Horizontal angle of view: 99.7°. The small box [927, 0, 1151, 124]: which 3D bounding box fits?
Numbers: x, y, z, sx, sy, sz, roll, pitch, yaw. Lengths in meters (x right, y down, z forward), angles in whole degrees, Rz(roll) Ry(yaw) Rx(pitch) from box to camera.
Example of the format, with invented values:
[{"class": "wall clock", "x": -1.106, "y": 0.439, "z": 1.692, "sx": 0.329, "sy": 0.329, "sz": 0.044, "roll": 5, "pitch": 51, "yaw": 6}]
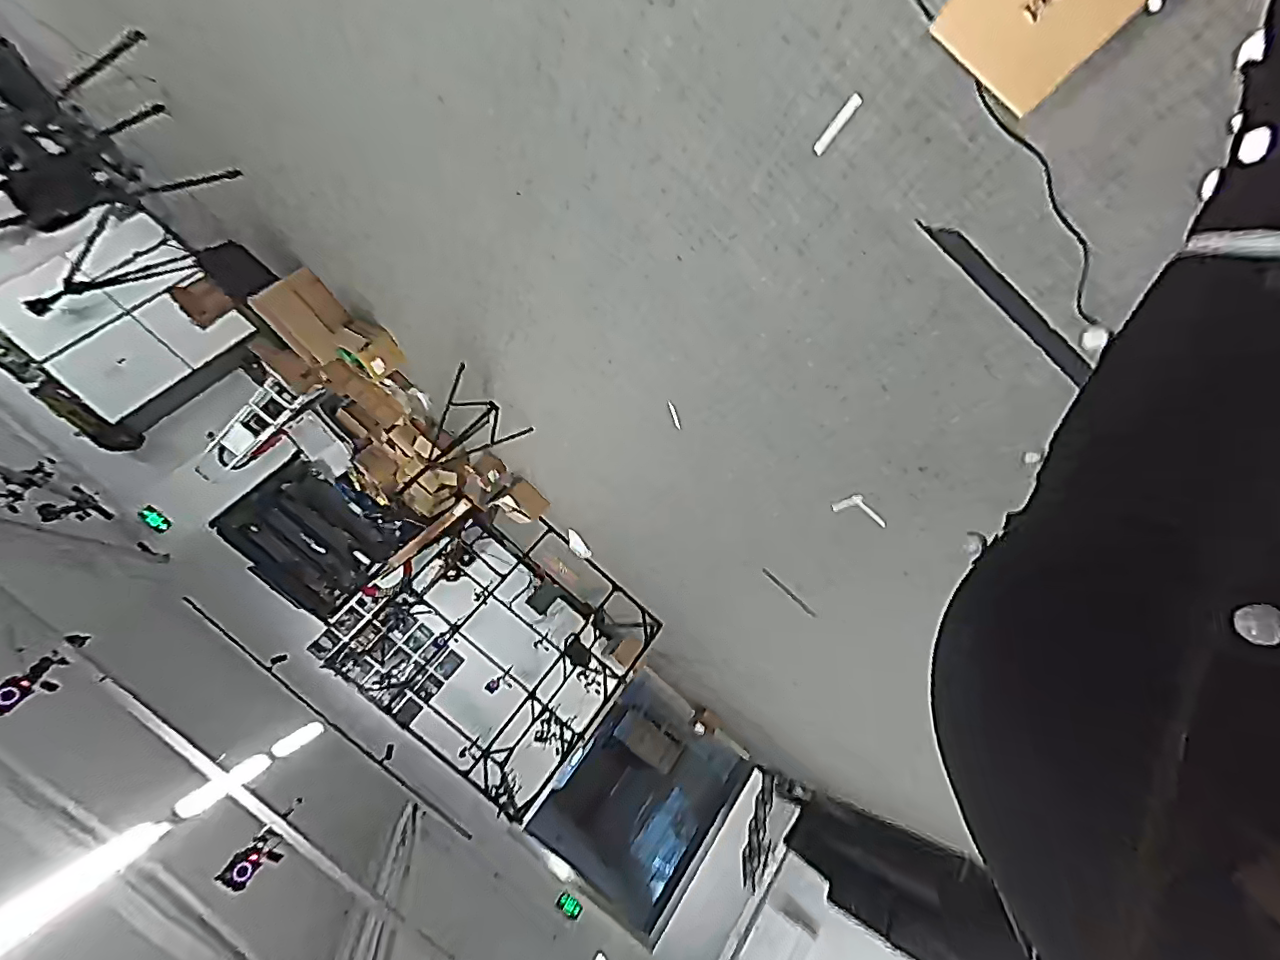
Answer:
[{"class": "small box", "x": 0.495, "y": -0.584, "z": 0.641, "sx": 0.168, "sy": 0.176, "sz": 0.179, "roll": 42, "pitch": 157, "yaw": -2}]
